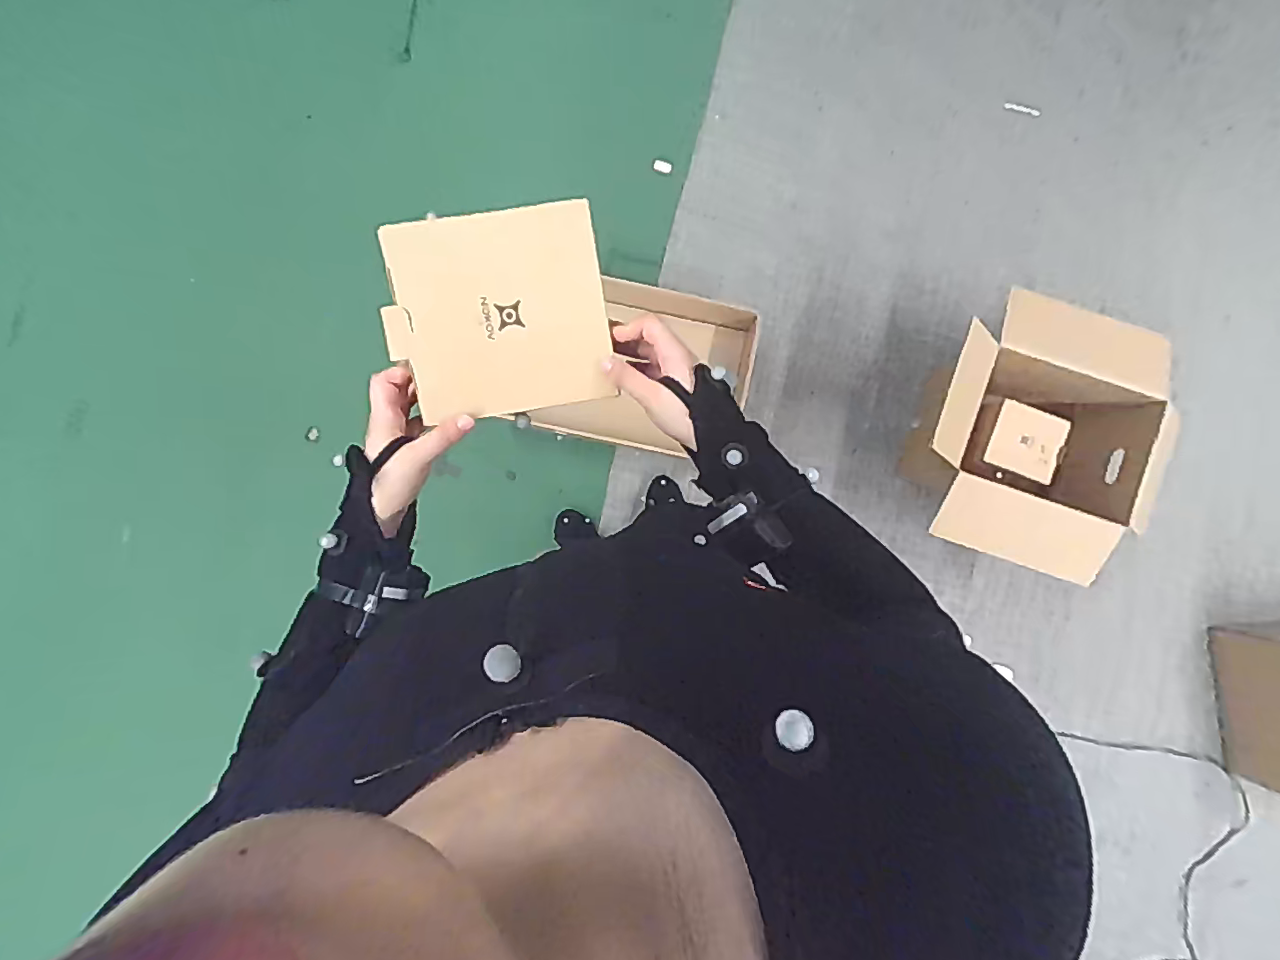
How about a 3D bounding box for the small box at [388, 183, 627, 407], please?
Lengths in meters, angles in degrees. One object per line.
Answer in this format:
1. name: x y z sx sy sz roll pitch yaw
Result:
1. small box: -0.117 -0.172 0.539 0.179 0.176 0.168 -10 102 -3
